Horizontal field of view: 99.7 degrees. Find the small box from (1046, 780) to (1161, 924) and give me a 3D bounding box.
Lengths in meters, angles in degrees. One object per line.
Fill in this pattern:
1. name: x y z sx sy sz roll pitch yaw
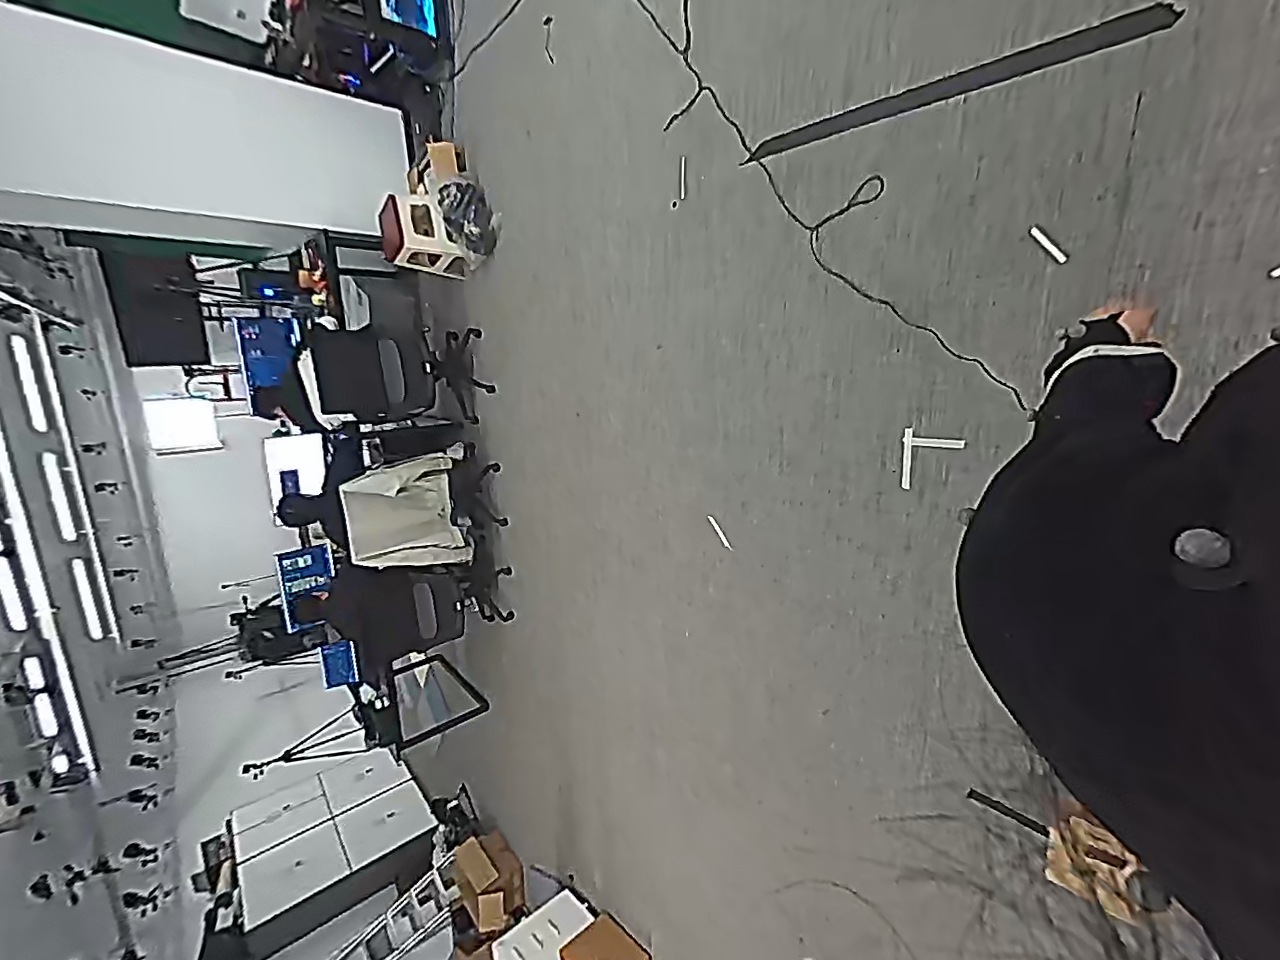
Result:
1. small box: 1.066 0.839 1.244 0.168 0.176 0.179 12 109 49
